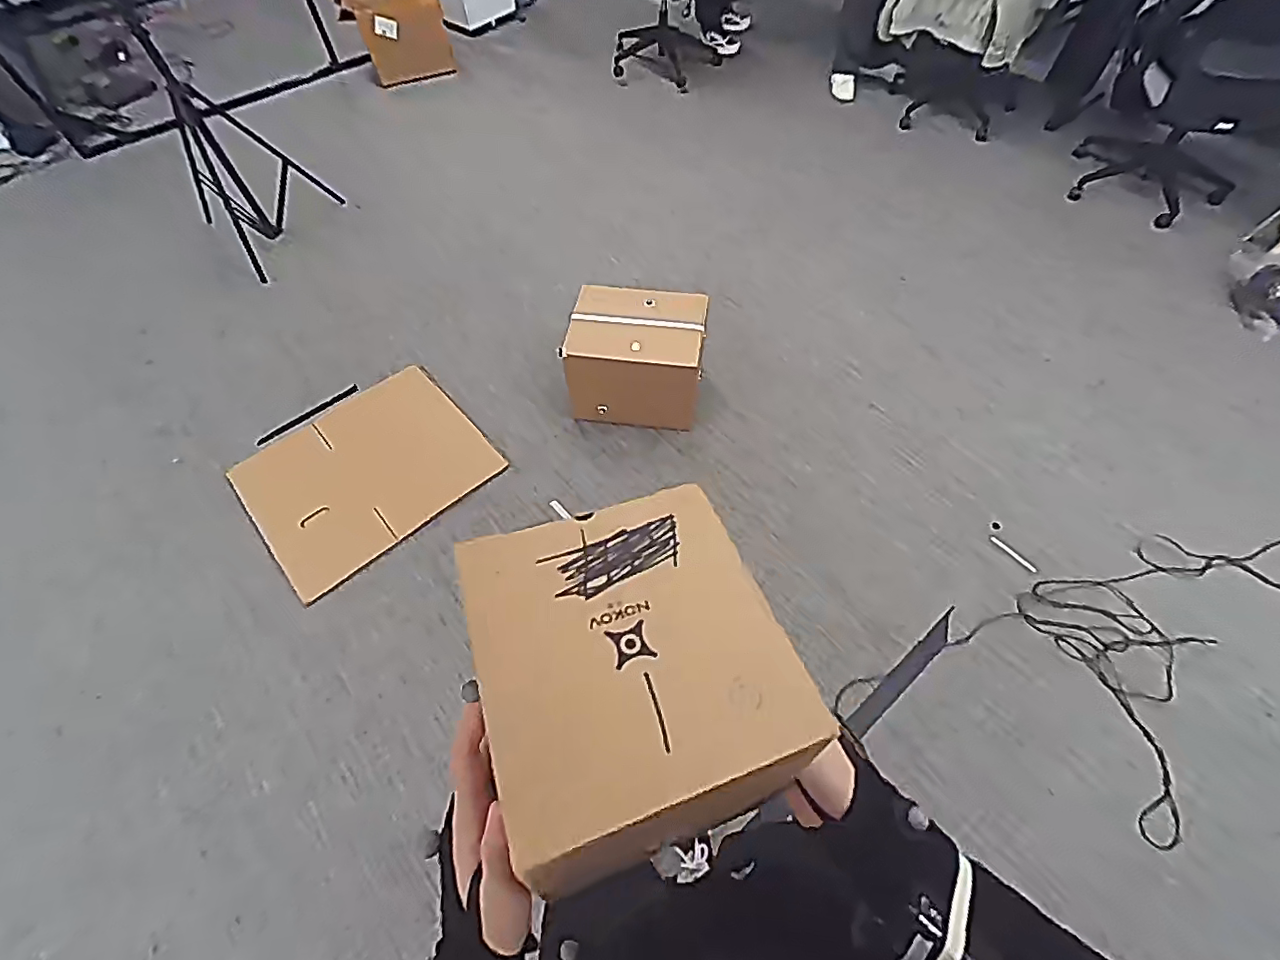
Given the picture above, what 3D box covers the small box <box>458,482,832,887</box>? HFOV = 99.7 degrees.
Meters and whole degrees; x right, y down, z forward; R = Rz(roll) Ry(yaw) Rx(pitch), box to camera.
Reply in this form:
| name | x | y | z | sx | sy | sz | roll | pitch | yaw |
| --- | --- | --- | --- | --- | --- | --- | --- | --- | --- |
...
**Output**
| name | x | y | z | sx | sy | sz | roll | pitch | yaw |
| --- | --- | --- | --- | --- | --- | --- | --- | --- | --- |
| small box | -0.012 | 0.133 | 0.360 | 0.168 | 0.176 | 0.179 | -15 | 51 | -15 |
